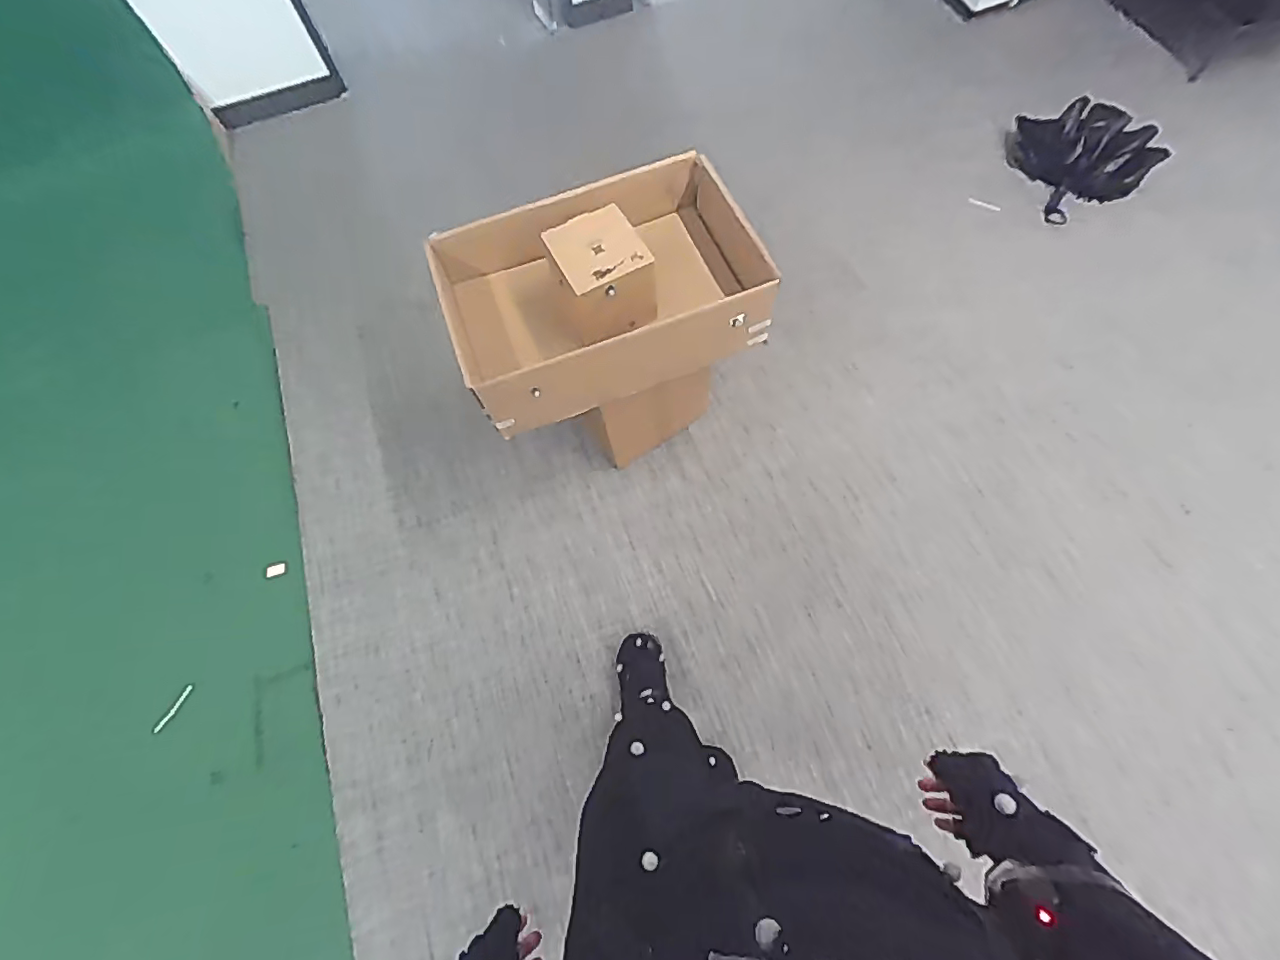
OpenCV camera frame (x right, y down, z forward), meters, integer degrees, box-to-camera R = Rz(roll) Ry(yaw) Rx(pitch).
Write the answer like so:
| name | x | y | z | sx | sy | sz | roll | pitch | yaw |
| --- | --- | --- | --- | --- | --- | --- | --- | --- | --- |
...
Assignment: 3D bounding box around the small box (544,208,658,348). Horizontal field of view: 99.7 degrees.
| name | x | y | z | sx | sy | sz | roll | pitch | yaw |
| --- | --- | --- | --- | --- | --- | --- | --- | --- | --- |
| small box | -0.075 | -0.408 | 1.107 | 0.168 | 0.176 | 0.179 | -27 | 68 | -6 |
